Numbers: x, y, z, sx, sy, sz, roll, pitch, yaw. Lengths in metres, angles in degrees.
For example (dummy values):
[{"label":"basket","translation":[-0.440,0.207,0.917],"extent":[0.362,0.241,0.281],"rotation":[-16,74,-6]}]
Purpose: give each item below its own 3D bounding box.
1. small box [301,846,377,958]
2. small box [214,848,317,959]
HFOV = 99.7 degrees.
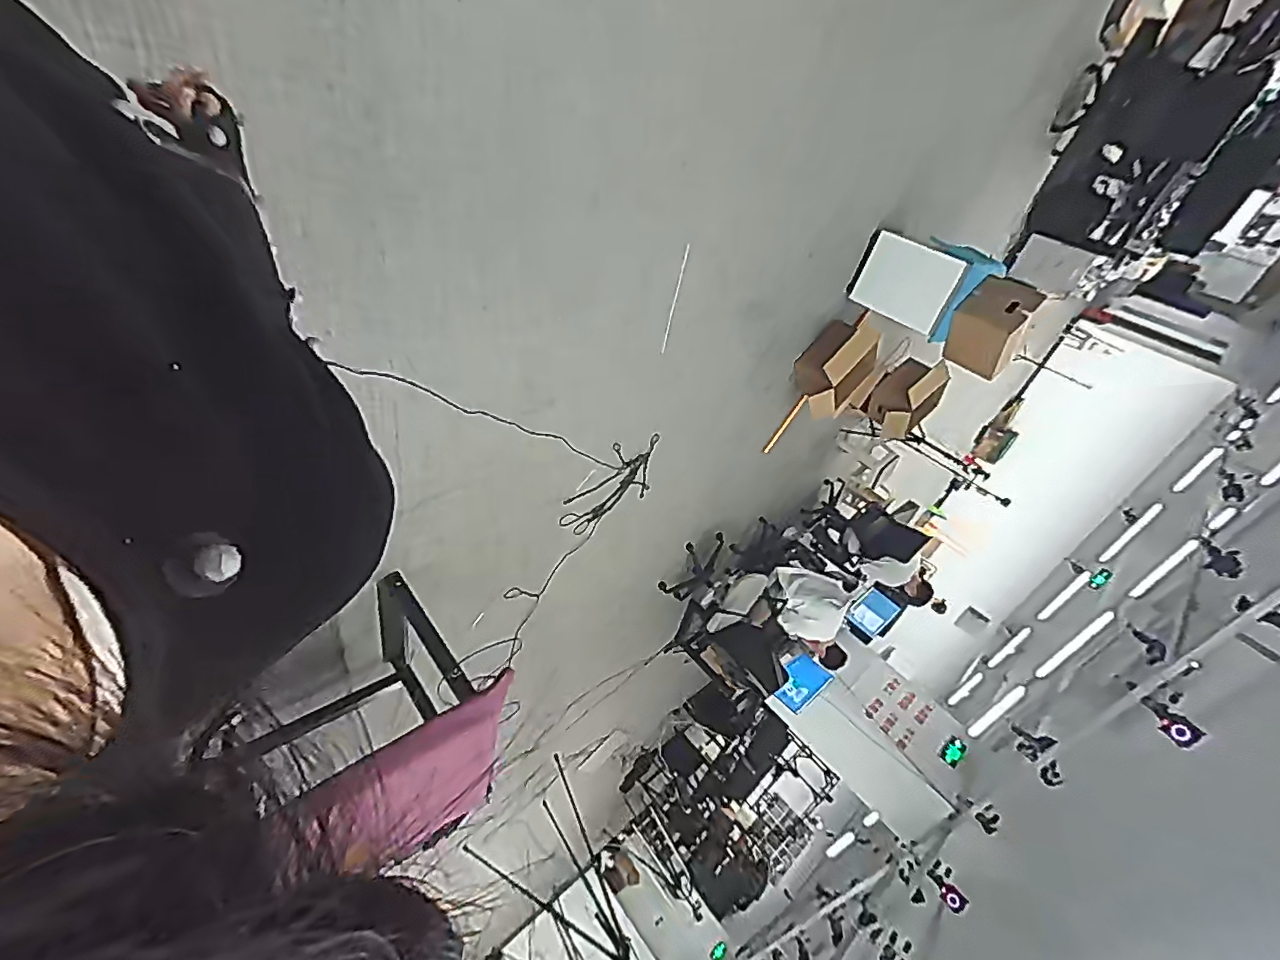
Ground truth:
[{"label":"small box","translation":[-0.894,1.218,1.577],"extent":[0.168,0.176,0.179],"rotation":[-10,132,-46]},{"label":"small box","translation":[-0.933,1.070,1.351],"extent":[0.168,0.176,0.179],"rotation":[-20,140,-40]}]
